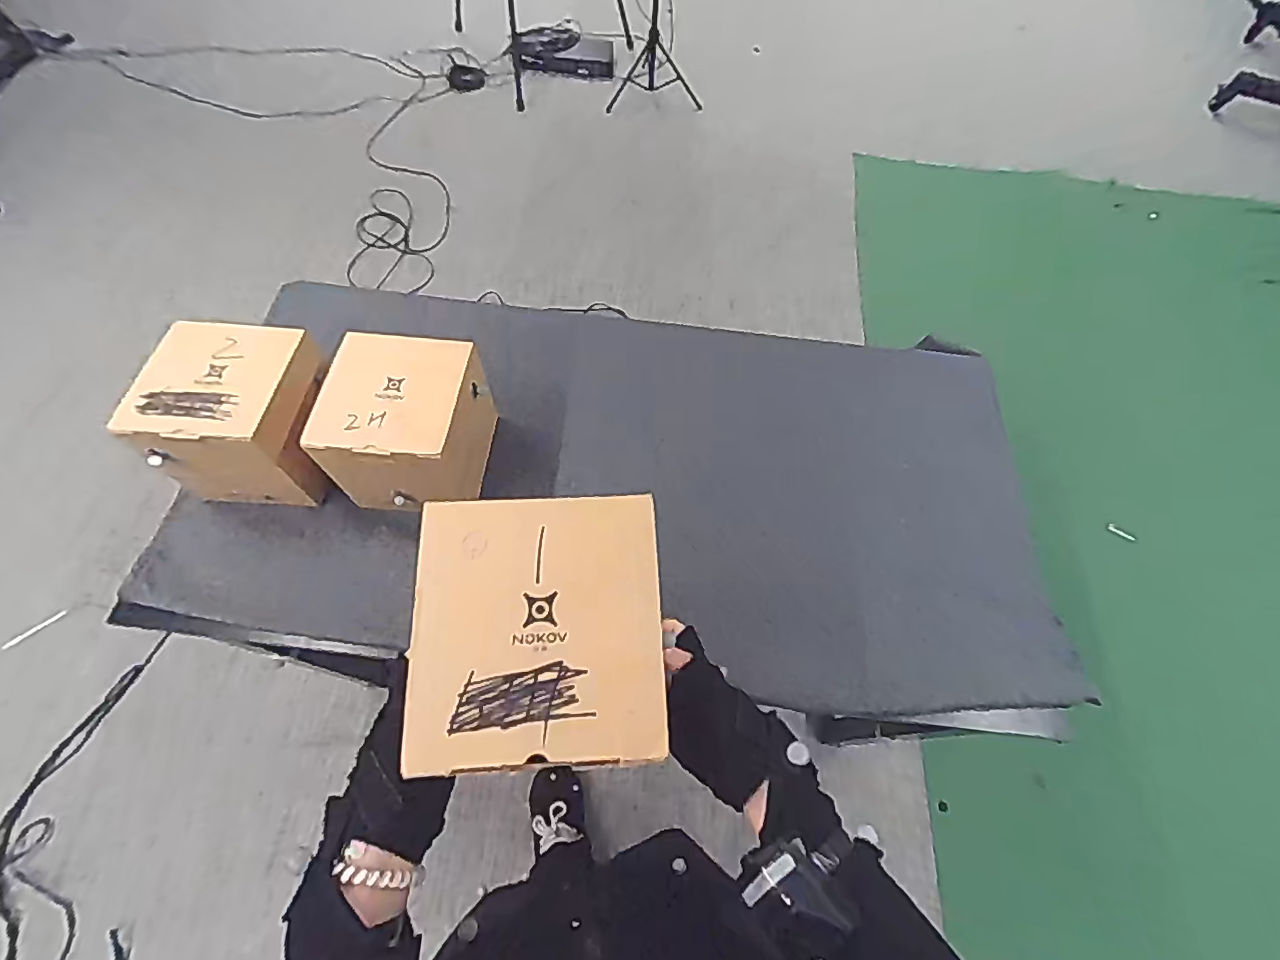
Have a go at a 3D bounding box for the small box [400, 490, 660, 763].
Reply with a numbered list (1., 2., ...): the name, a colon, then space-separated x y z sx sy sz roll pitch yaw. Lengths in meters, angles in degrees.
1. small box: -0.073 0.117 0.437 0.168 0.176 0.179 -1 69 -4
